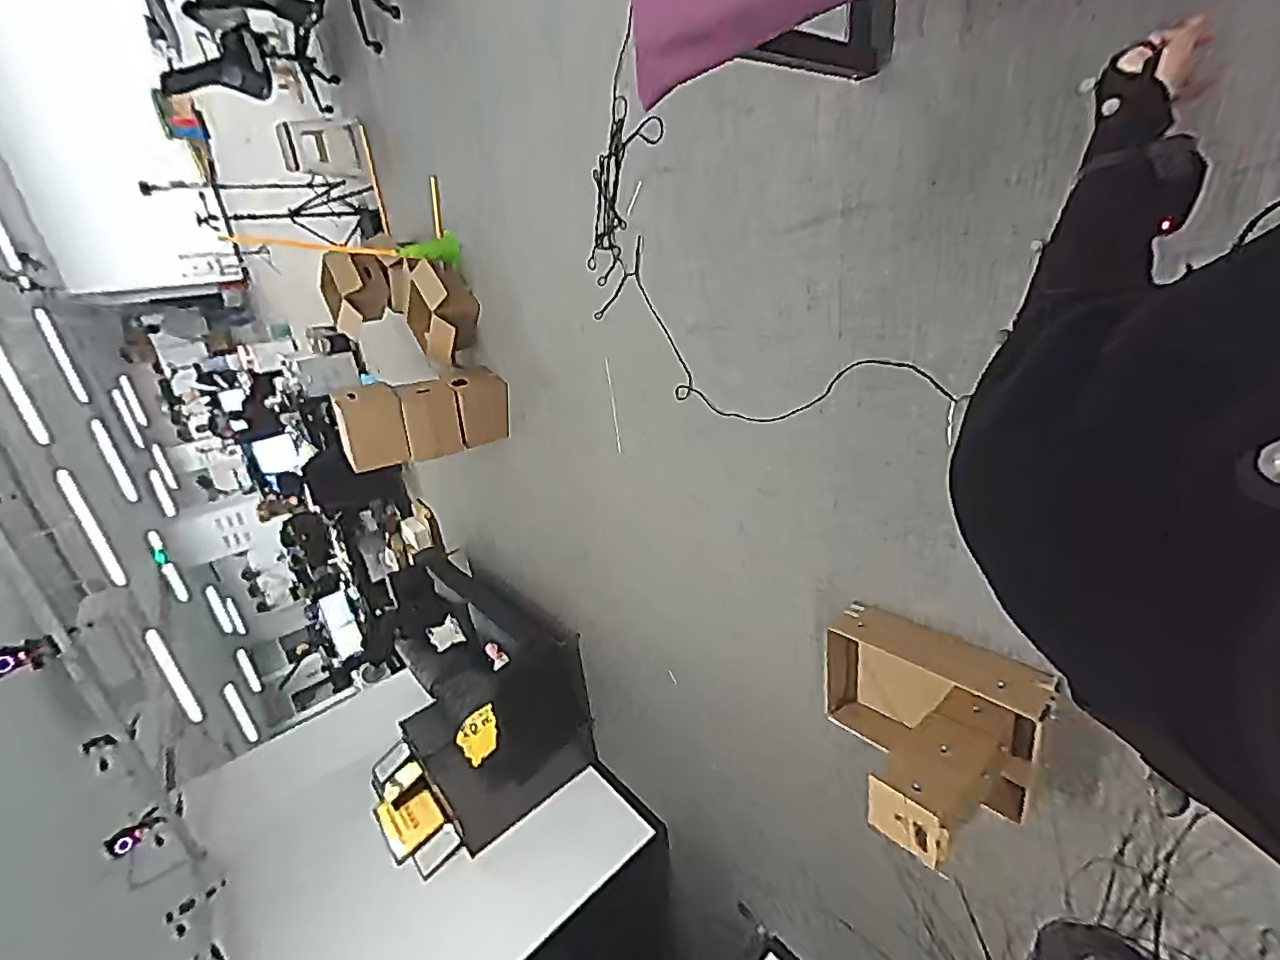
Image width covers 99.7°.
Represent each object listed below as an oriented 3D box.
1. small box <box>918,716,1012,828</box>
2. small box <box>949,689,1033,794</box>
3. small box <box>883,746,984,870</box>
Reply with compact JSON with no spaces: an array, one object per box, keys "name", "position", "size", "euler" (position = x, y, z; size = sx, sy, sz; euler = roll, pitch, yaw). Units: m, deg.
[{"name":"small box","position":[0.878,0.779,1.465],"size":[0.179,0.176,0.168],"euler":[16,118,51]},{"name":"small box","position":[1.007,0.742,1.559],"size":[0.168,0.176,0.179],"euler":[15,119,52]},{"name":"small box","position":[0.747,0.821,1.377],"size":[0.179,0.176,0.168],"euler":[16,118,51]}]
